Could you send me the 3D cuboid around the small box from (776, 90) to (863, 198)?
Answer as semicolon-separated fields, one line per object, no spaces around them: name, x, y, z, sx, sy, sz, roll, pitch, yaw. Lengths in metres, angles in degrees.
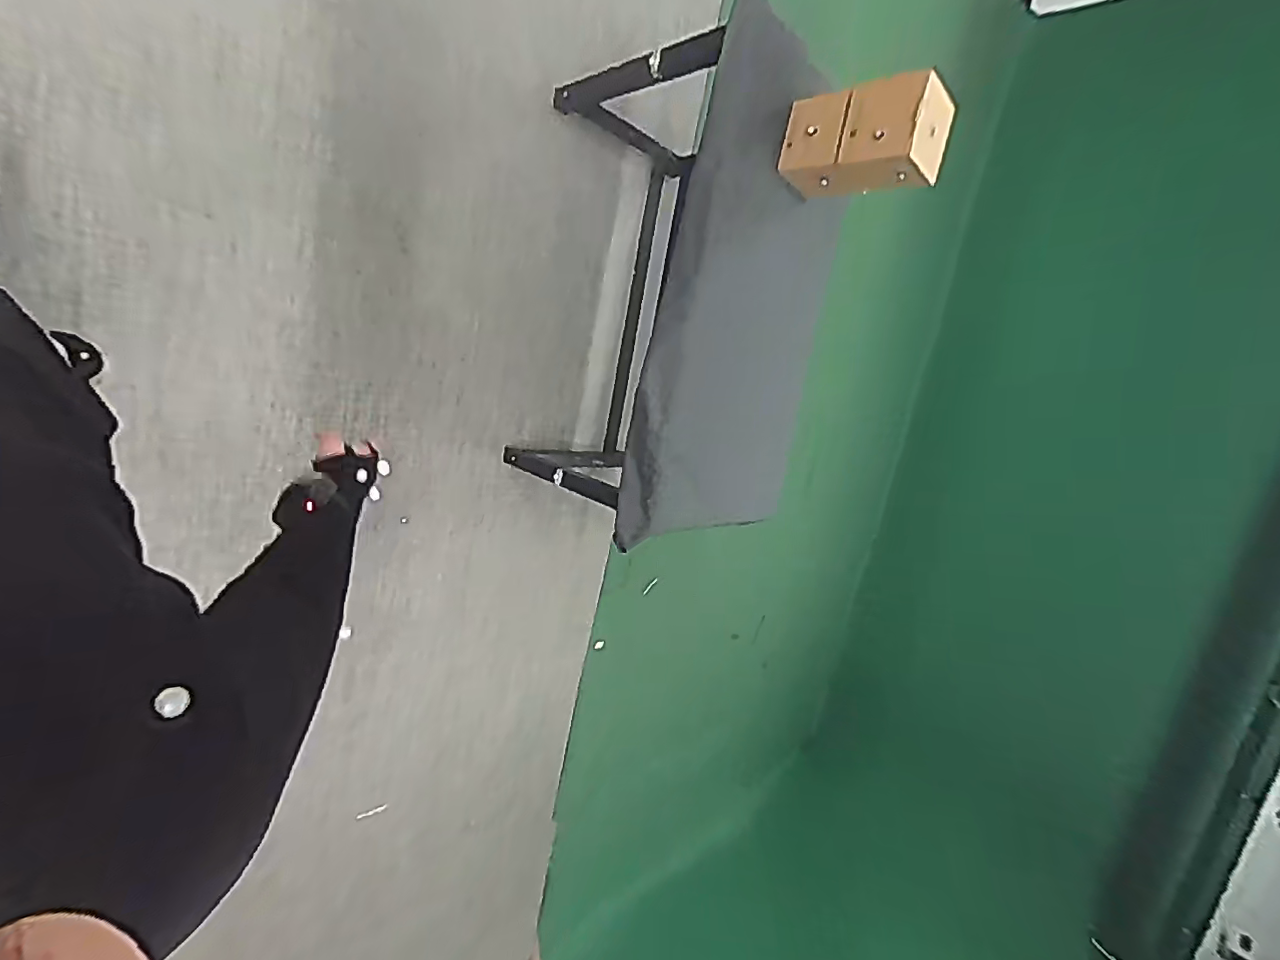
small box;0.465;-0.826;1.353;0.179;0.176;0.168;2;104;-47

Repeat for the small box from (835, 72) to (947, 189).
small box;0.570;-0.782;1.236;0.179;0.176;0.168;-1;107;-47
